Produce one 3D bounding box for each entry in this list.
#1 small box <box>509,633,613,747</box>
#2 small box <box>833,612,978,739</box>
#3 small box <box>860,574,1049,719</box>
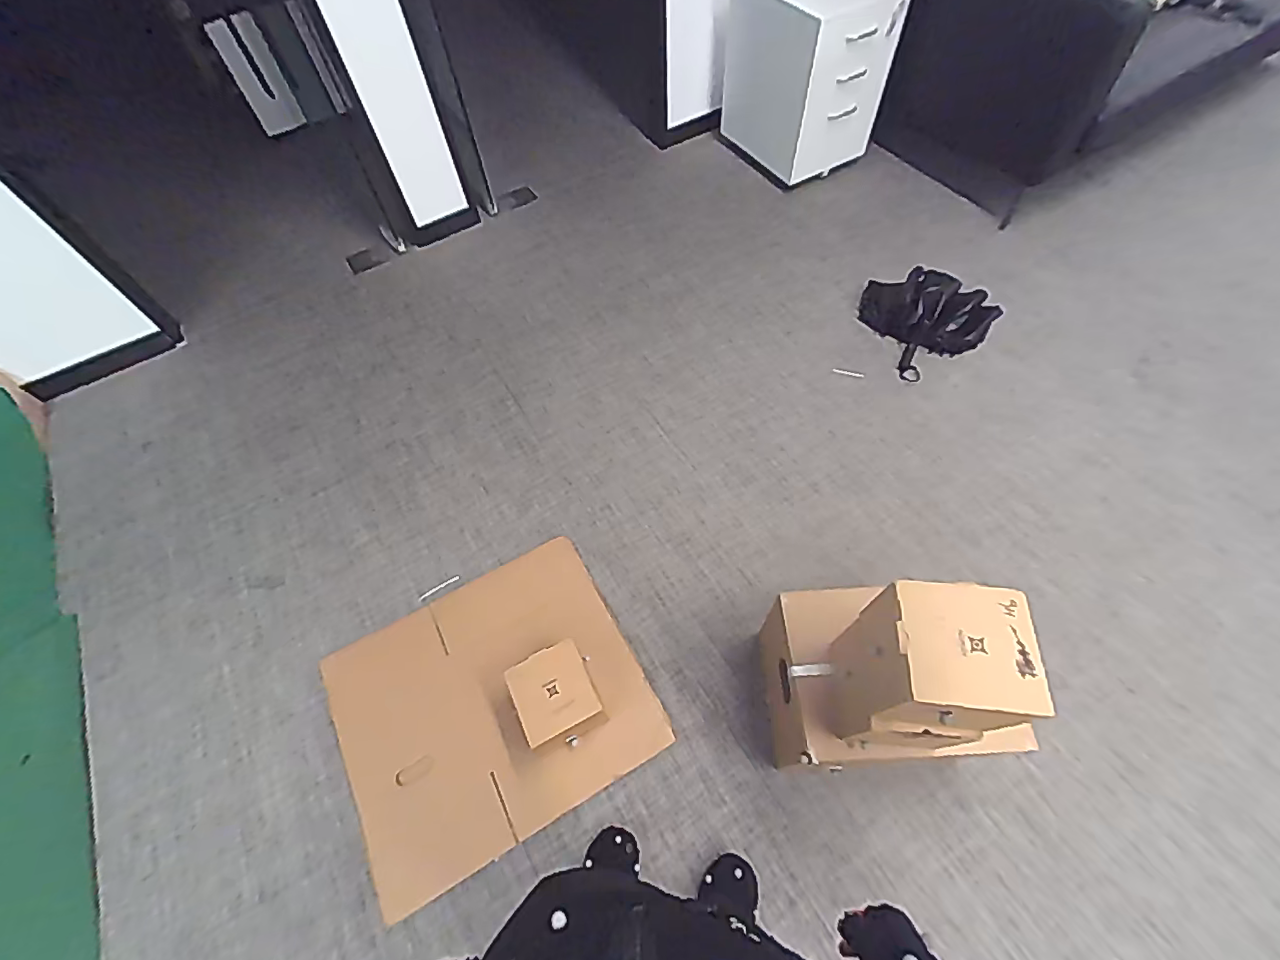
[{"bbox_3d":[-0.174,0.481,1.225,0.168,0.176,0.179,-26,62,-10],"label":"small box"},{"bbox_3d":[0.439,0.339,0.927,0.168,0.176,0.179,3,60,5],"label":"small box"},{"bbox_3d":[0.438,0.248,0.793,0.179,0.176,0.168,2,58,4],"label":"small box"}]
